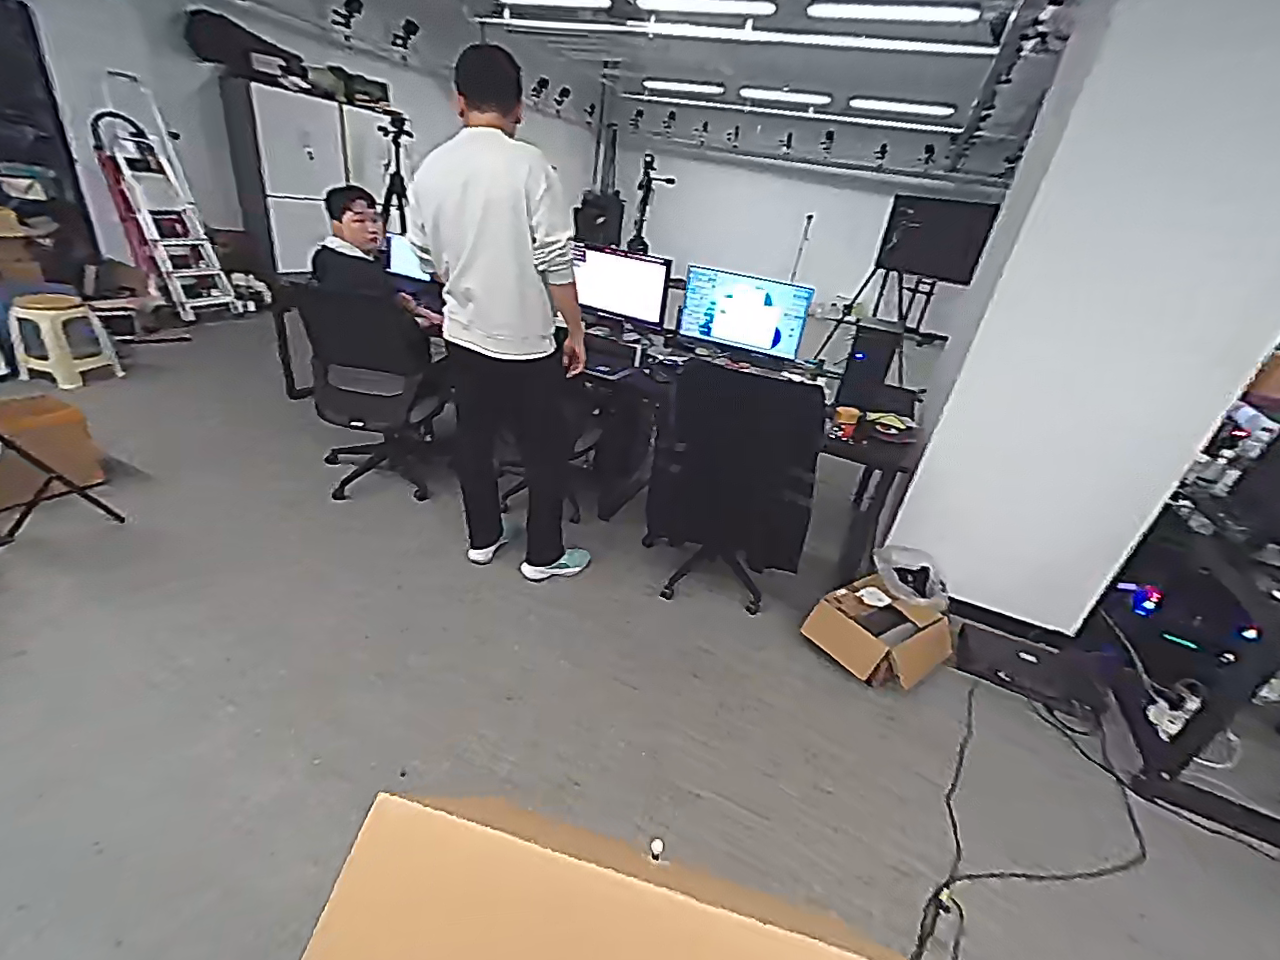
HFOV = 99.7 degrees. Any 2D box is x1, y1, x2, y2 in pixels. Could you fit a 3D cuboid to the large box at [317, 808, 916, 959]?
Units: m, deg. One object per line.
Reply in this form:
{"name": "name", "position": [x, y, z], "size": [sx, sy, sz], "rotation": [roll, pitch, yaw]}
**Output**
{"name": "large box", "position": [-0.032, 0.478, 0.421], "size": [0.408, 0.320, 0.320], "rotation": [12, 61, 8]}
